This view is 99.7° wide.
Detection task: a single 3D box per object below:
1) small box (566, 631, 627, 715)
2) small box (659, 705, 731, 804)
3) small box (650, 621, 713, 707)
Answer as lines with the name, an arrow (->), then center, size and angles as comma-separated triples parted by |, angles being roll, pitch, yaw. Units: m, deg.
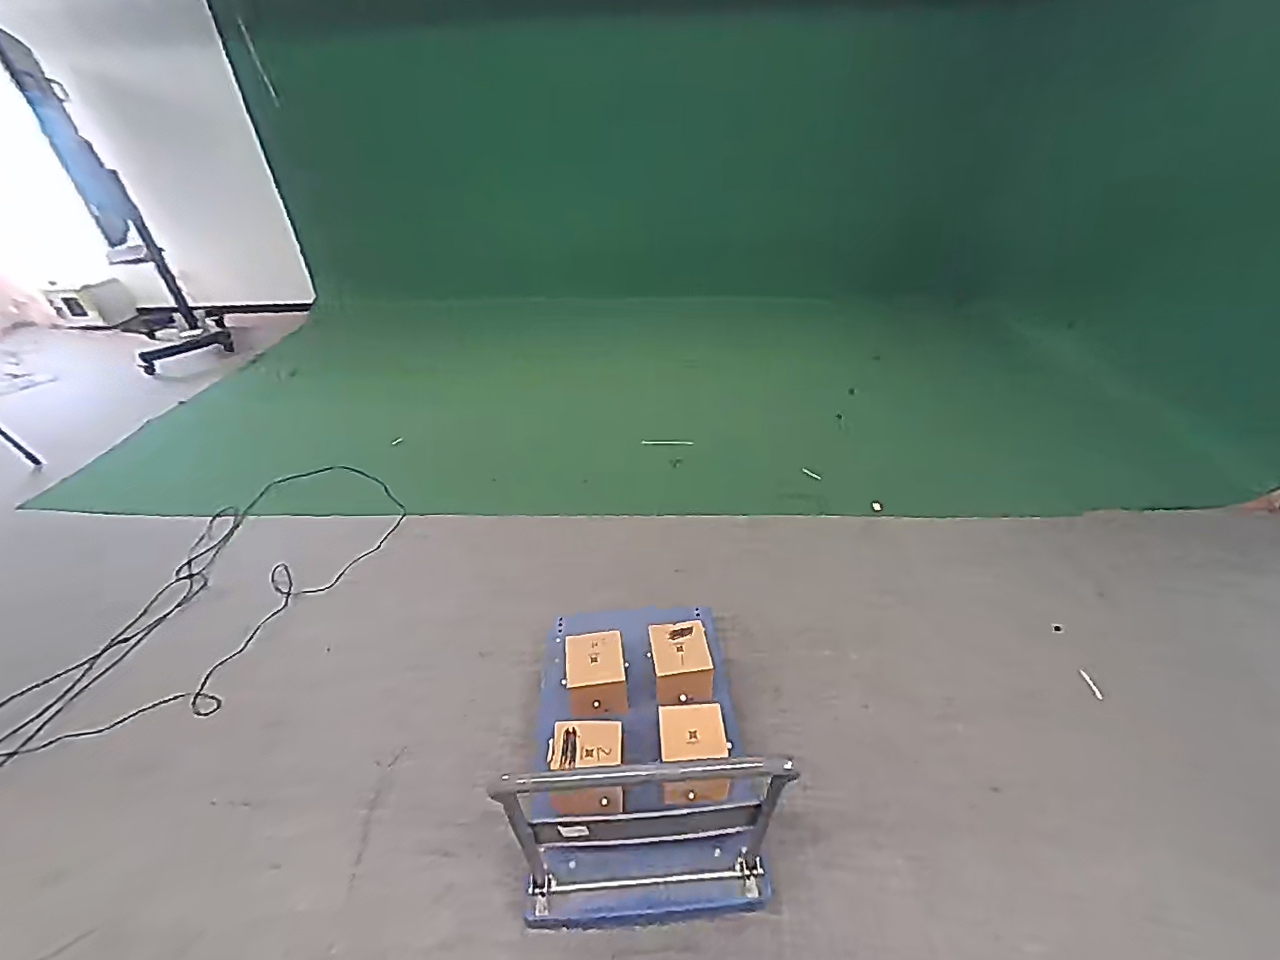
small box -> -0.130, 0.580, 1.609 | 0.168, 0.176, 0.179 | -5, 37, -5
small box -> 0.136, 0.717, 1.416 | 0.168, 0.176, 0.179 | -2, 37, -1
small box -> 0.120, 0.554, 1.631 | 0.168, 0.176, 0.179 | -6, 38, -4
